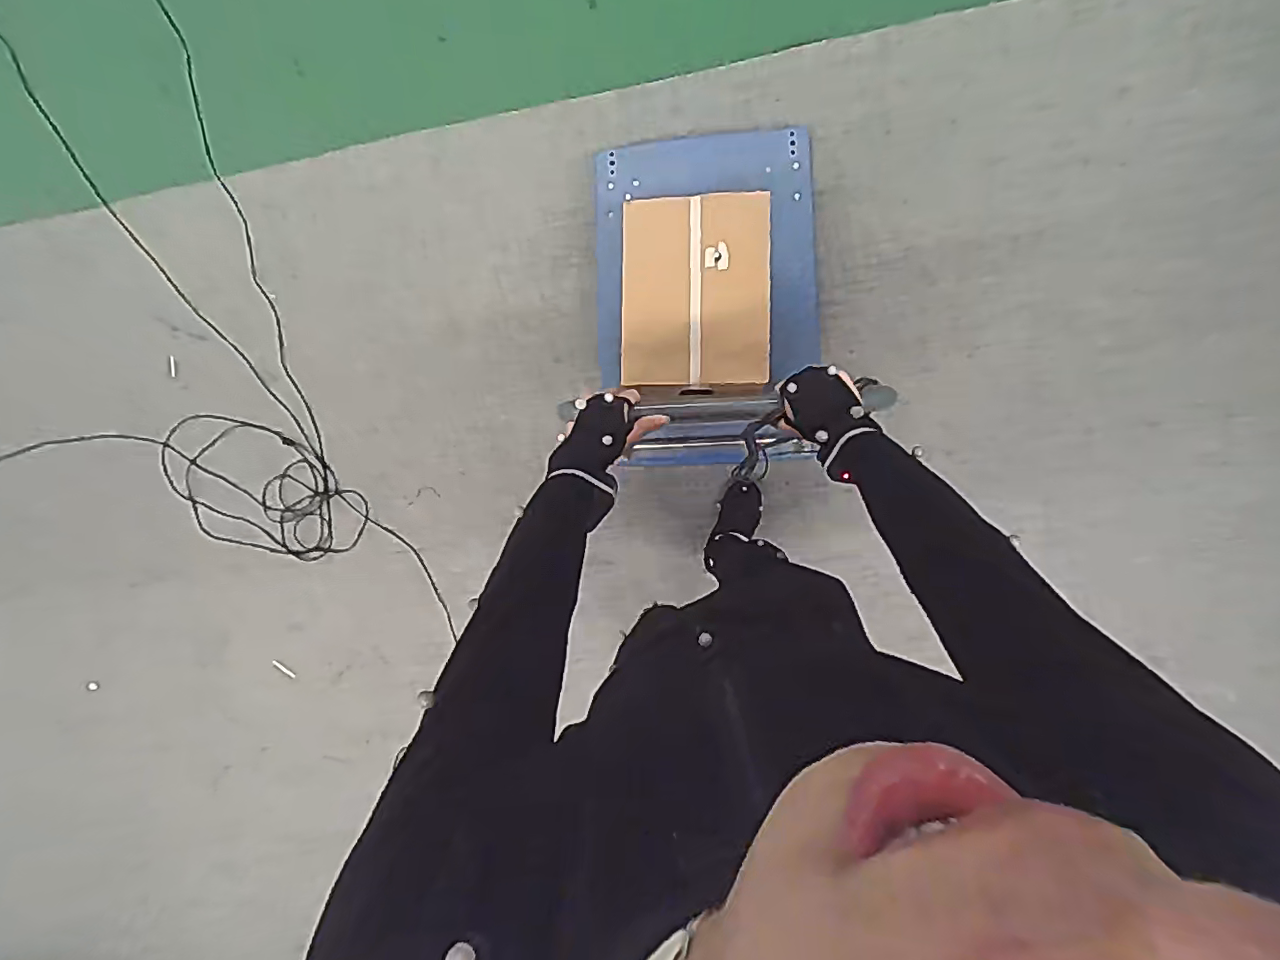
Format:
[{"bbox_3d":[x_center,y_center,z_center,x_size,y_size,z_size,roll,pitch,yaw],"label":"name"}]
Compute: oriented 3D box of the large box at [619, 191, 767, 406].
[{"bbox_3d":[0.131,-0.402,1.292,0.320,0.320,0.408,1,88,7],"label":"large box"}]
